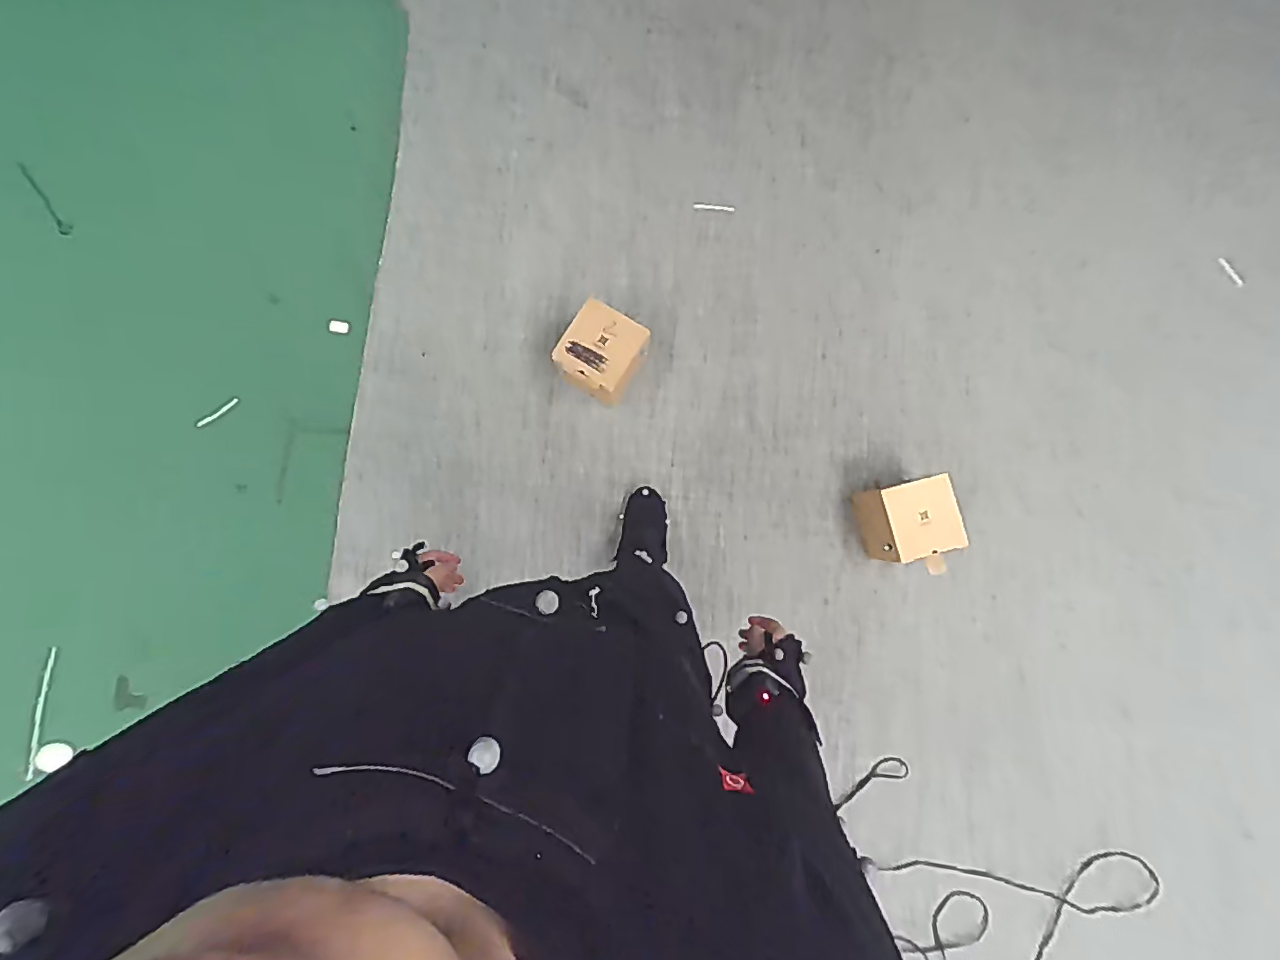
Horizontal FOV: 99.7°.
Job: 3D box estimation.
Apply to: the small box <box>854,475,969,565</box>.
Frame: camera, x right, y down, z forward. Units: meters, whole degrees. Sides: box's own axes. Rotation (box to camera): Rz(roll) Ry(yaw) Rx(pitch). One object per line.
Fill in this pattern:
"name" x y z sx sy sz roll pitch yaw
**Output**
"small box" 0.646 0.098 1.311 0.168 0.176 0.179 -15 86 -3
